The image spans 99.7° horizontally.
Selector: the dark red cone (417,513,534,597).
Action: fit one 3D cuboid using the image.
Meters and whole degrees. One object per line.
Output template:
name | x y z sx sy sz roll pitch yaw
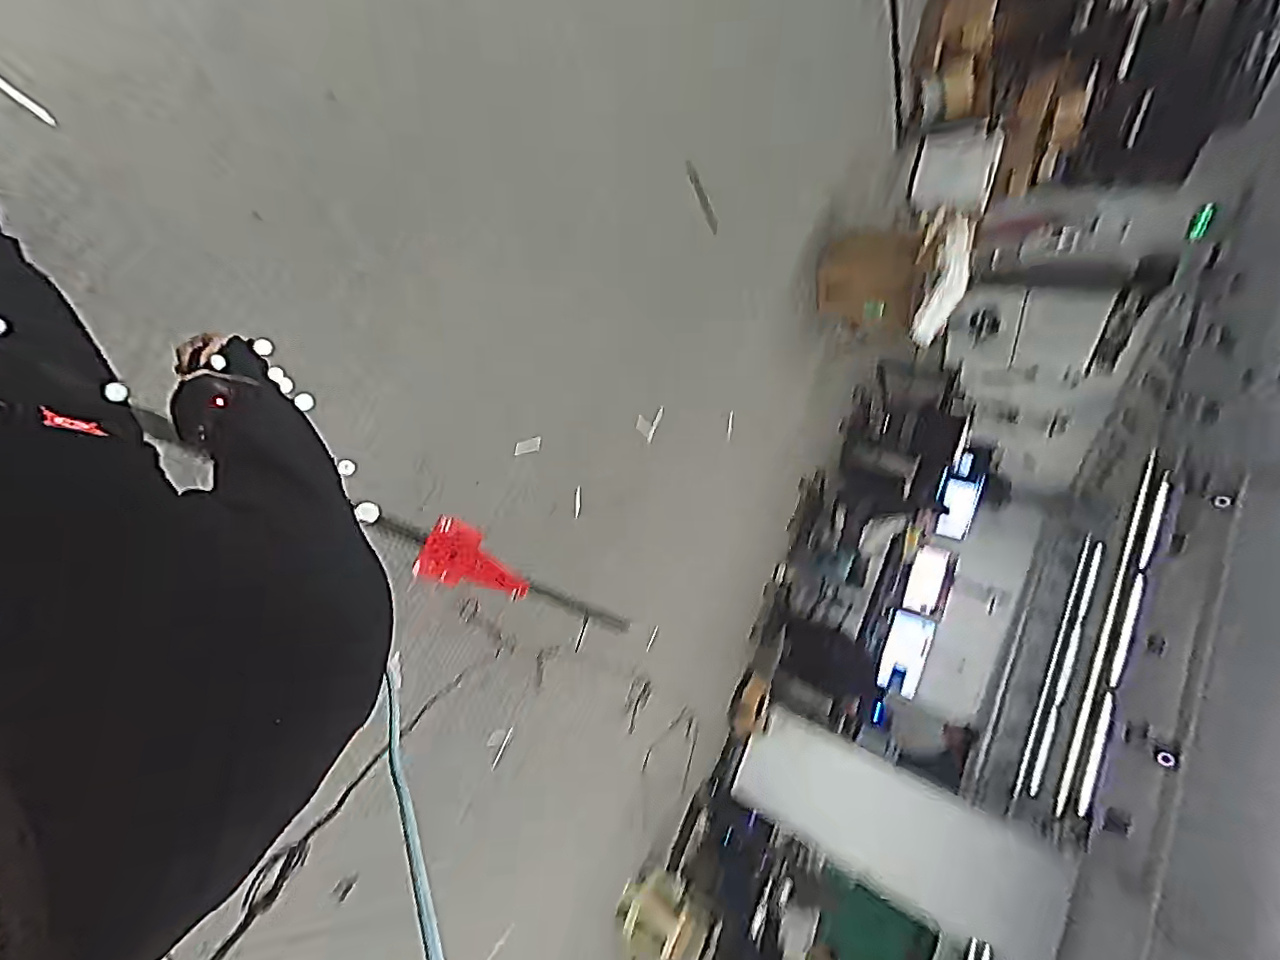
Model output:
dark red cone | -0.475 0.264 1.660 0.201 0.394 0.202 -64 147 -11
